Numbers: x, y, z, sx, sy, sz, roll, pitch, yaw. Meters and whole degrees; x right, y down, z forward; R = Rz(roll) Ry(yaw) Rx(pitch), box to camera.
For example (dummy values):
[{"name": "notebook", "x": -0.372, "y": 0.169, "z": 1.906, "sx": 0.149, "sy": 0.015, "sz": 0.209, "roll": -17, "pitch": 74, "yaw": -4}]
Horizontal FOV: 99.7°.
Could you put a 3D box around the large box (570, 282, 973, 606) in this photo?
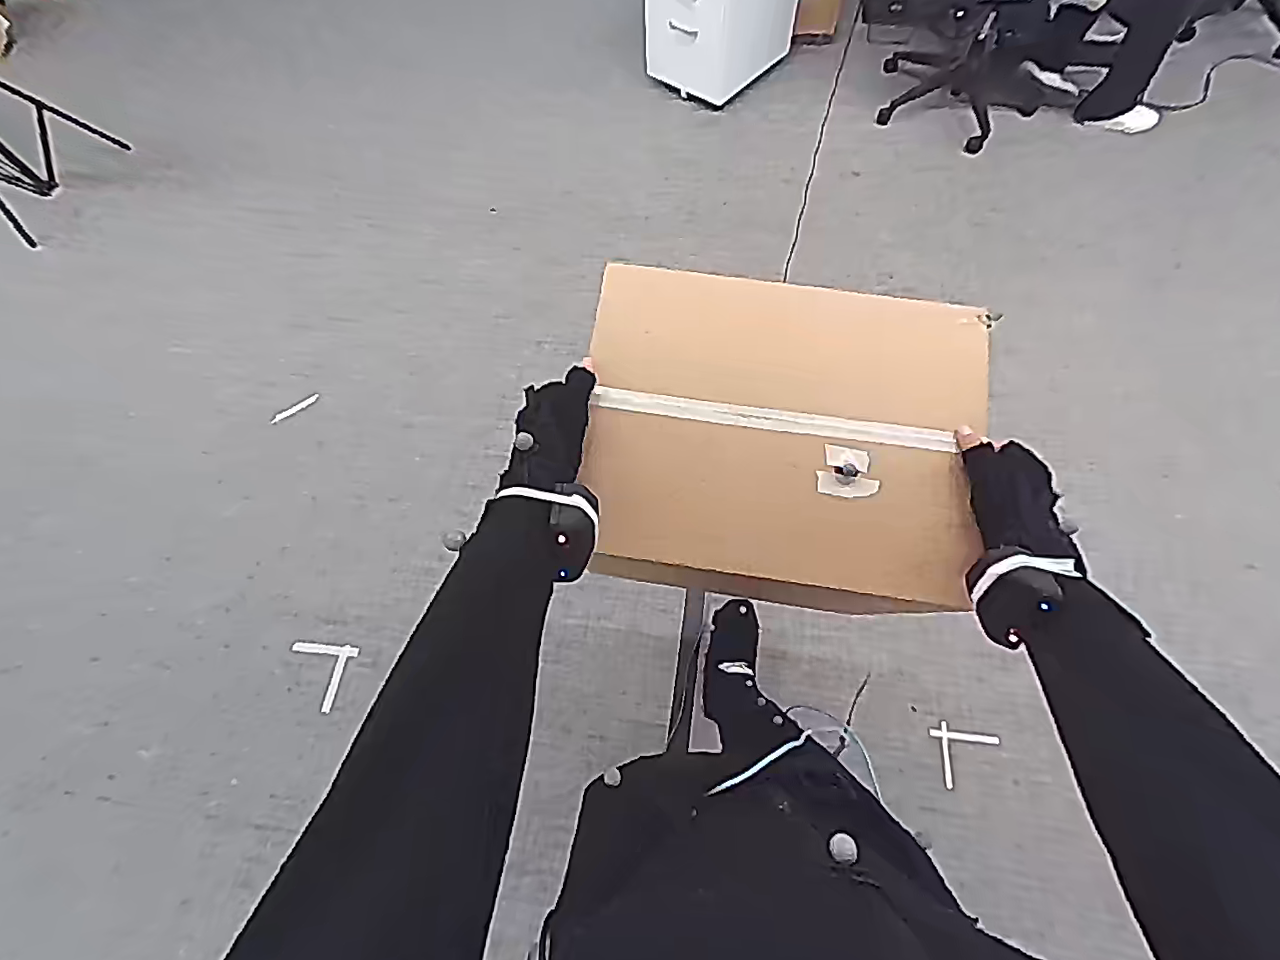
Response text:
[{"name": "large box", "x": 0.144, "y": -0.017, "z": 0.707, "sx": 0.408, "sy": 0.320, "sz": 0.320, "roll": 8, "pitch": 77, "yaw": 2}]
